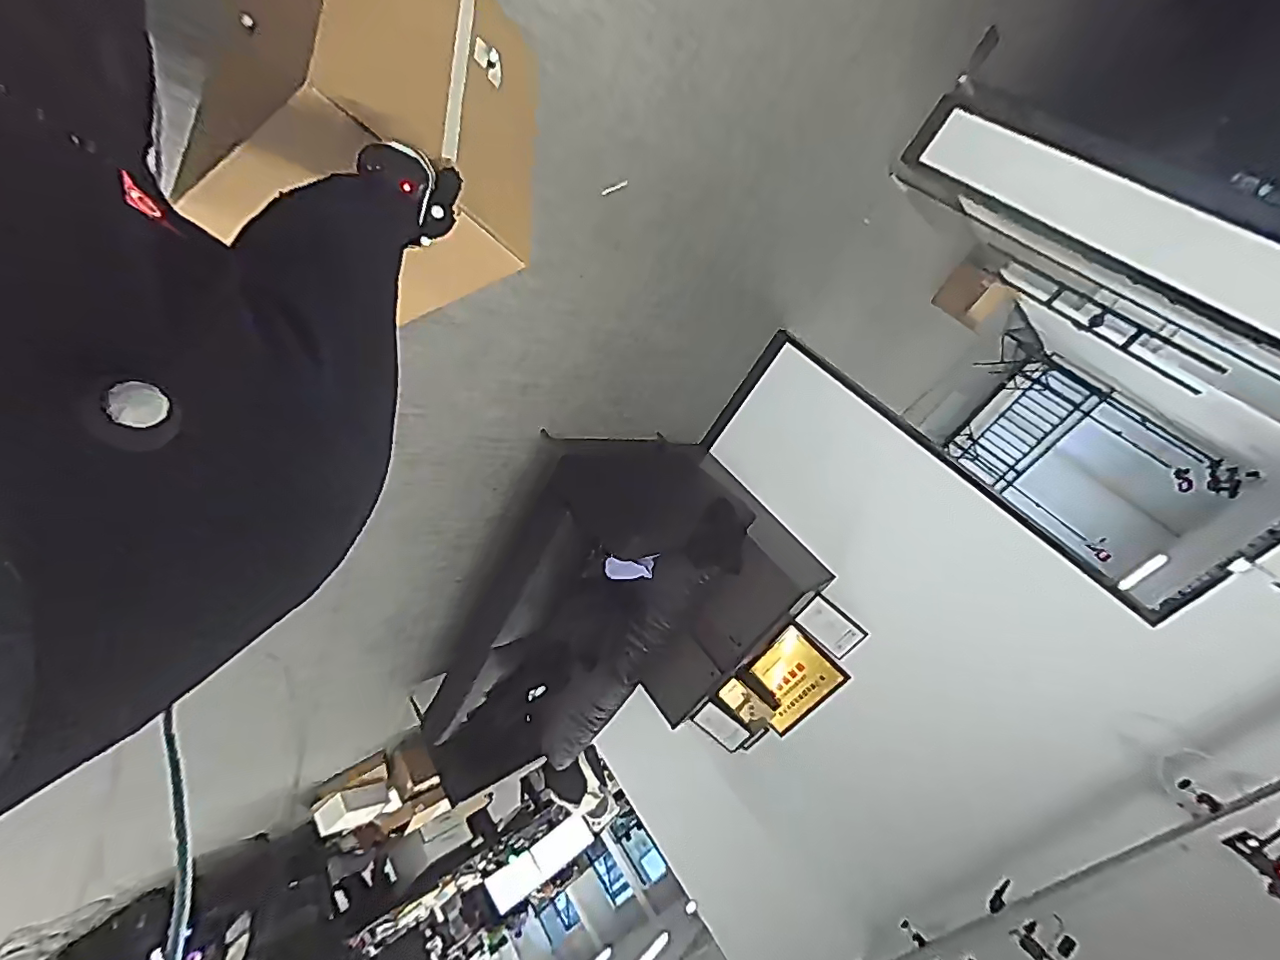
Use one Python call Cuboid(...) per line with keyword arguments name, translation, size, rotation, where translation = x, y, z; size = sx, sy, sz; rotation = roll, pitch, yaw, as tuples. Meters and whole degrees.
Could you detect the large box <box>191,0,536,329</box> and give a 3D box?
Cuboid(name="large box", translation=(-0.370, -0.501, 0.782), size=(0.320, 0.408, 0.320), rotation=(-12, 160, 29))
